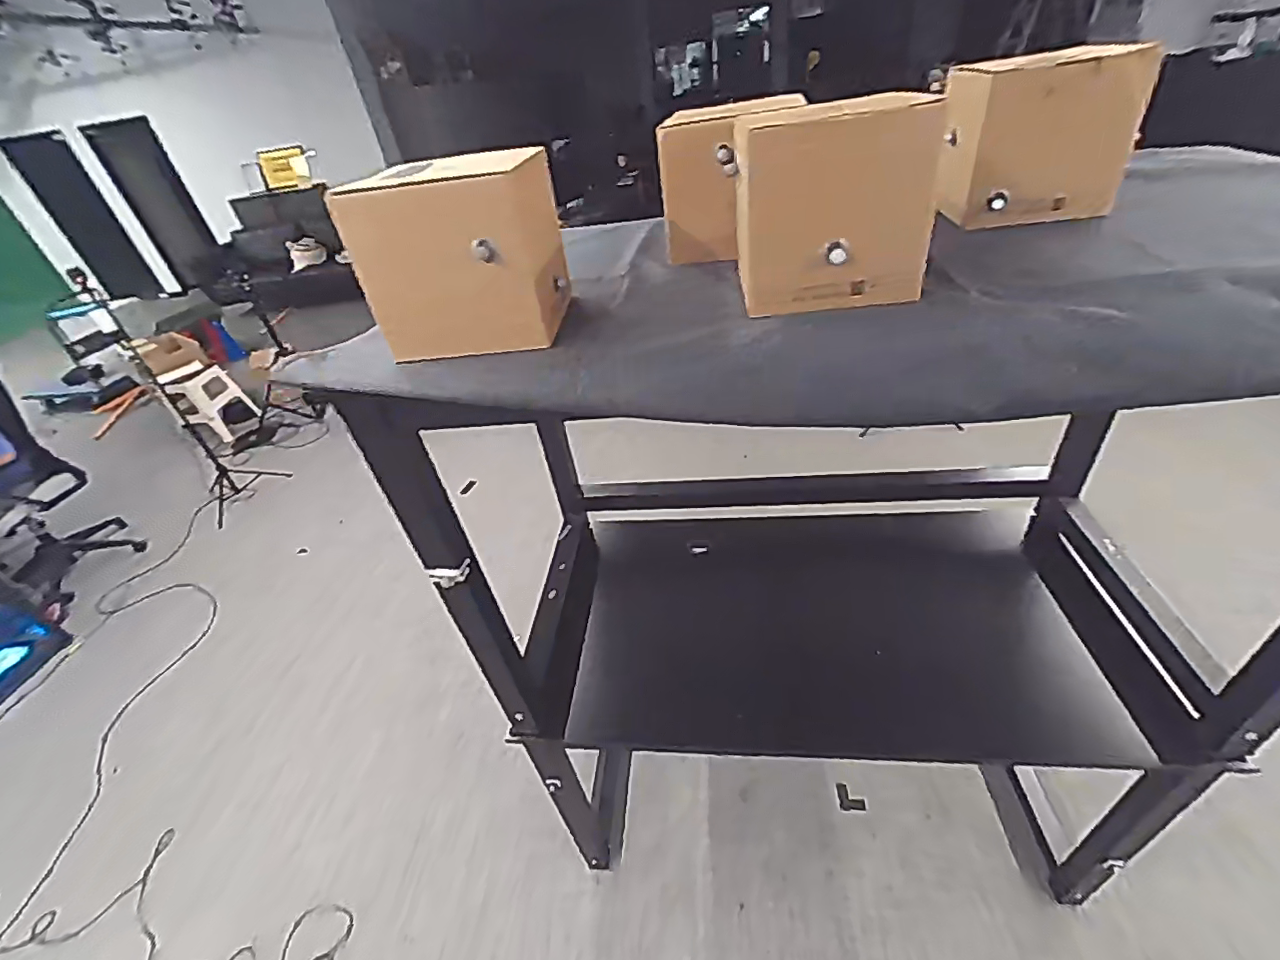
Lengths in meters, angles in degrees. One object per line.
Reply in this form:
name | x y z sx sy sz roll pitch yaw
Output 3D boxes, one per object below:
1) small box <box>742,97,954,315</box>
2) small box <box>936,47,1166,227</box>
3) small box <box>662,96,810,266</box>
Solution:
small box | 0.193 -0.285 0.563 0.168 0.176 0.179 -3 37 9
small box | 0.499 -0.432 0.694 0.168 0.176 0.179 0 37 12
small box | 0.136 -0.407 0.741 0.179 0.176 0.168 1 38 14
